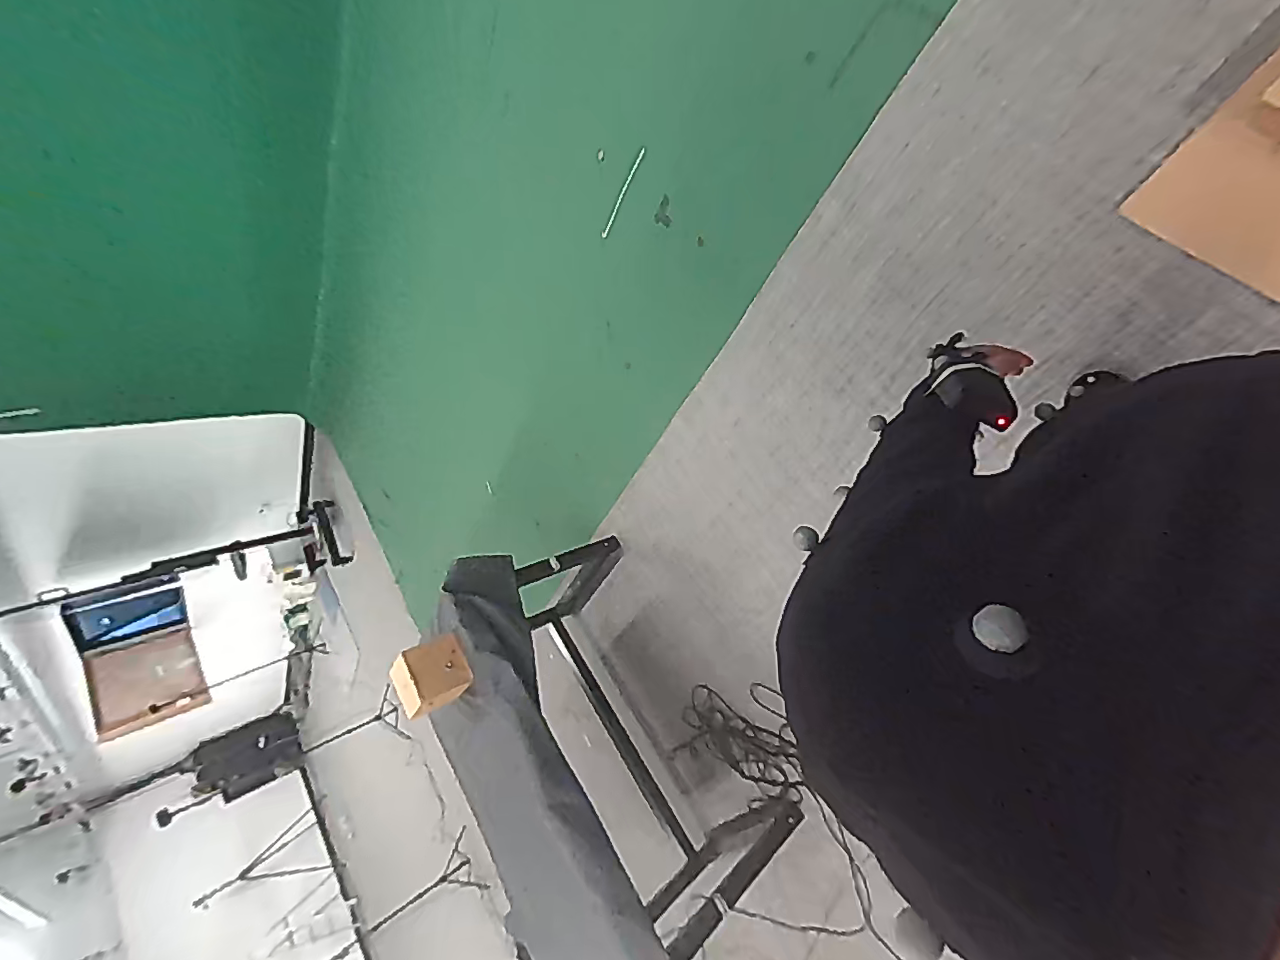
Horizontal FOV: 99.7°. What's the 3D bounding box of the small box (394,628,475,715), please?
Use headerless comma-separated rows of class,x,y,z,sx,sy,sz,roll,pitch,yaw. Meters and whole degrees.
small box,-0.633,0.587,1.667,0.168,0.176,0.179,56,134,19

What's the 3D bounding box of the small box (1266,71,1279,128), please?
small box,1.003,-0.558,0.716,0.168,0.176,0.179,52,133,23
